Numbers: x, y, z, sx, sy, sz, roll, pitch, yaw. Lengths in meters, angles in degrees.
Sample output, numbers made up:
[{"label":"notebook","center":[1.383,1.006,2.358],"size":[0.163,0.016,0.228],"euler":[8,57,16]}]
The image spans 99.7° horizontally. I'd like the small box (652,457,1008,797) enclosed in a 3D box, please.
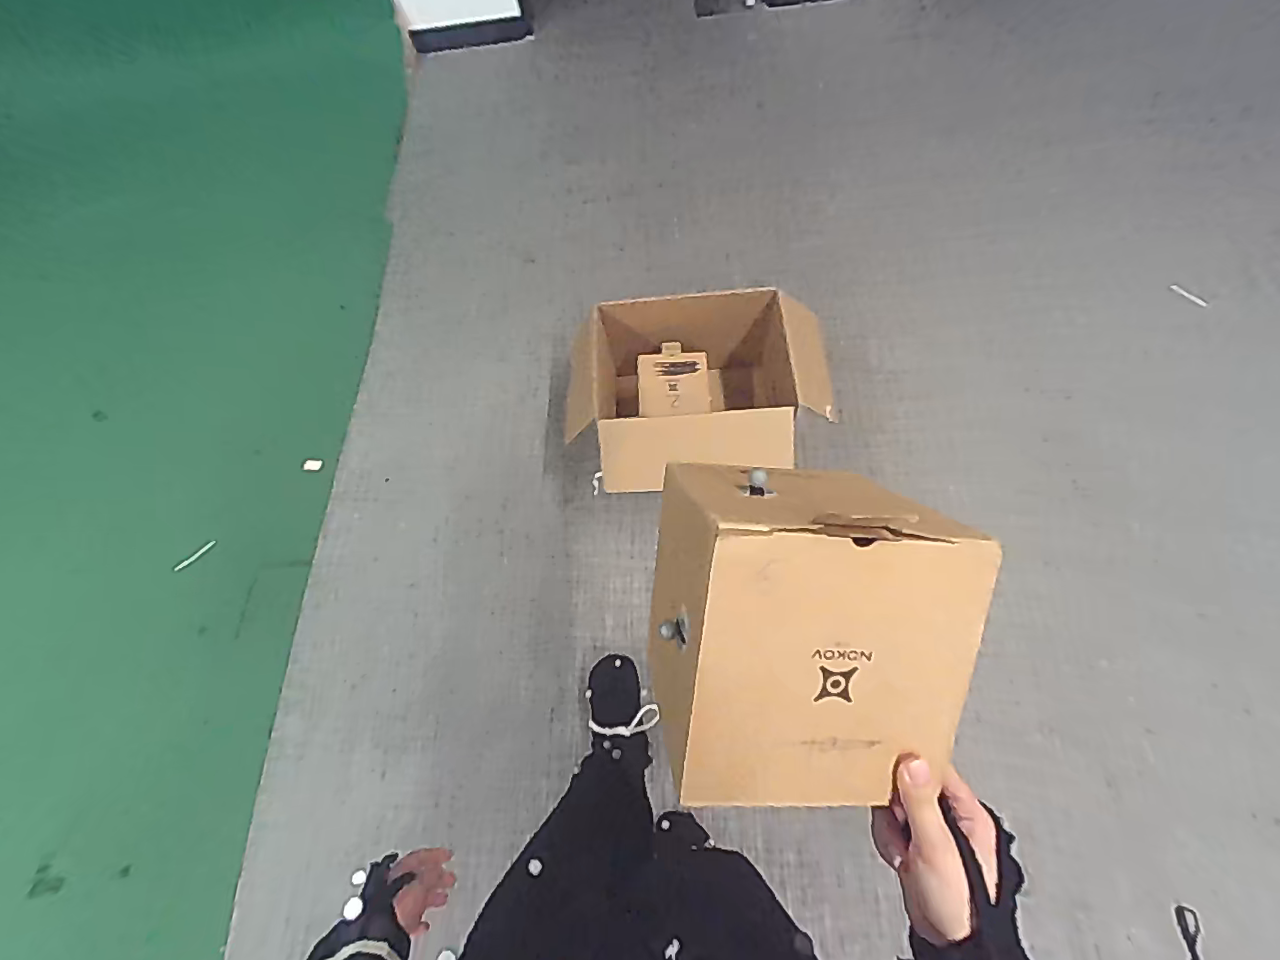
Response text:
[{"label":"small box","center":[0.105,0.086,0.382],"size":[0.168,0.176,0.179],"euler":[5,103,-7]}]
